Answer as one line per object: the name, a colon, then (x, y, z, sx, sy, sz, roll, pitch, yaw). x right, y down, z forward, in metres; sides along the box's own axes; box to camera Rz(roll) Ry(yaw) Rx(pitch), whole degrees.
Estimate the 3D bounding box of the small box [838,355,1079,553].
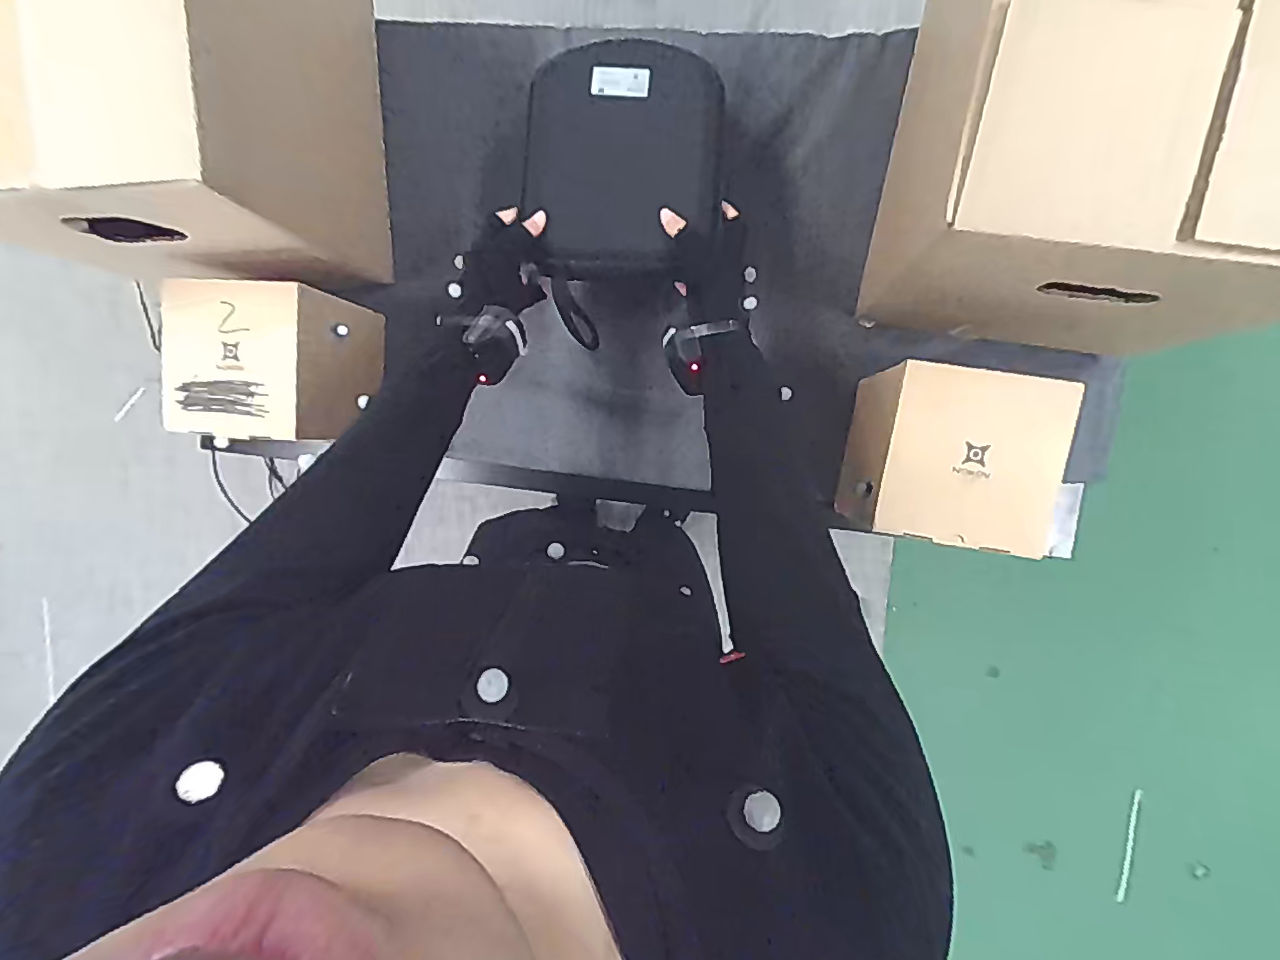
small box: (0.338, -0.032, 0.613, 0.168, 0.176, 0.179, 10, 97, 6)
